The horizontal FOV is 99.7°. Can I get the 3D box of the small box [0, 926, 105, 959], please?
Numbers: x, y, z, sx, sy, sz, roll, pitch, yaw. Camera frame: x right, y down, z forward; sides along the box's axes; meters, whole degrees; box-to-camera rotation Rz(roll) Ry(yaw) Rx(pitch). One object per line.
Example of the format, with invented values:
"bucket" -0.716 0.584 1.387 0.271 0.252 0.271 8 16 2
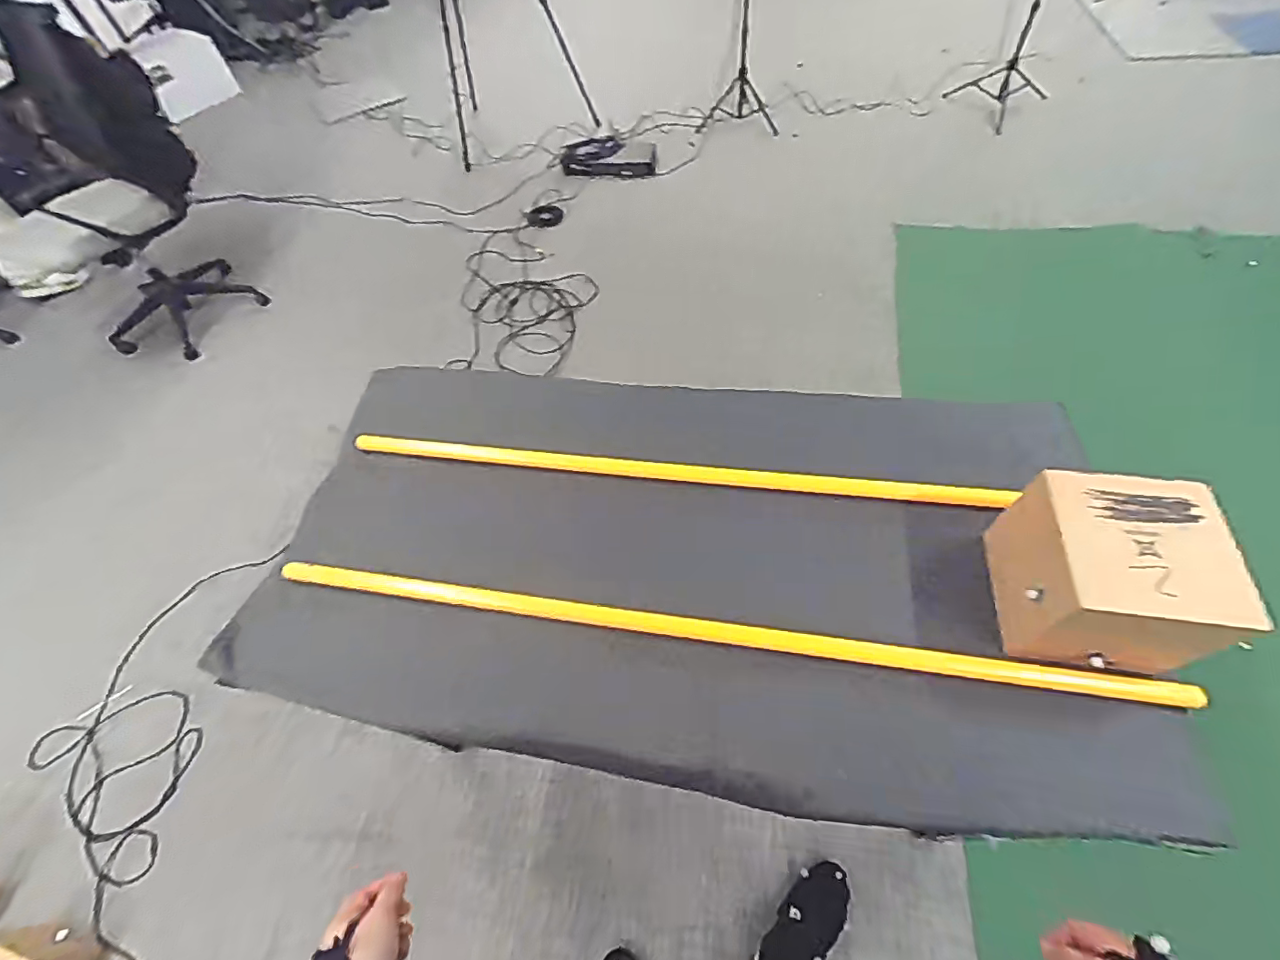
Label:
"small box" -1.274 1.046 1.097 0.168 0.176 0.179 10 57 13
